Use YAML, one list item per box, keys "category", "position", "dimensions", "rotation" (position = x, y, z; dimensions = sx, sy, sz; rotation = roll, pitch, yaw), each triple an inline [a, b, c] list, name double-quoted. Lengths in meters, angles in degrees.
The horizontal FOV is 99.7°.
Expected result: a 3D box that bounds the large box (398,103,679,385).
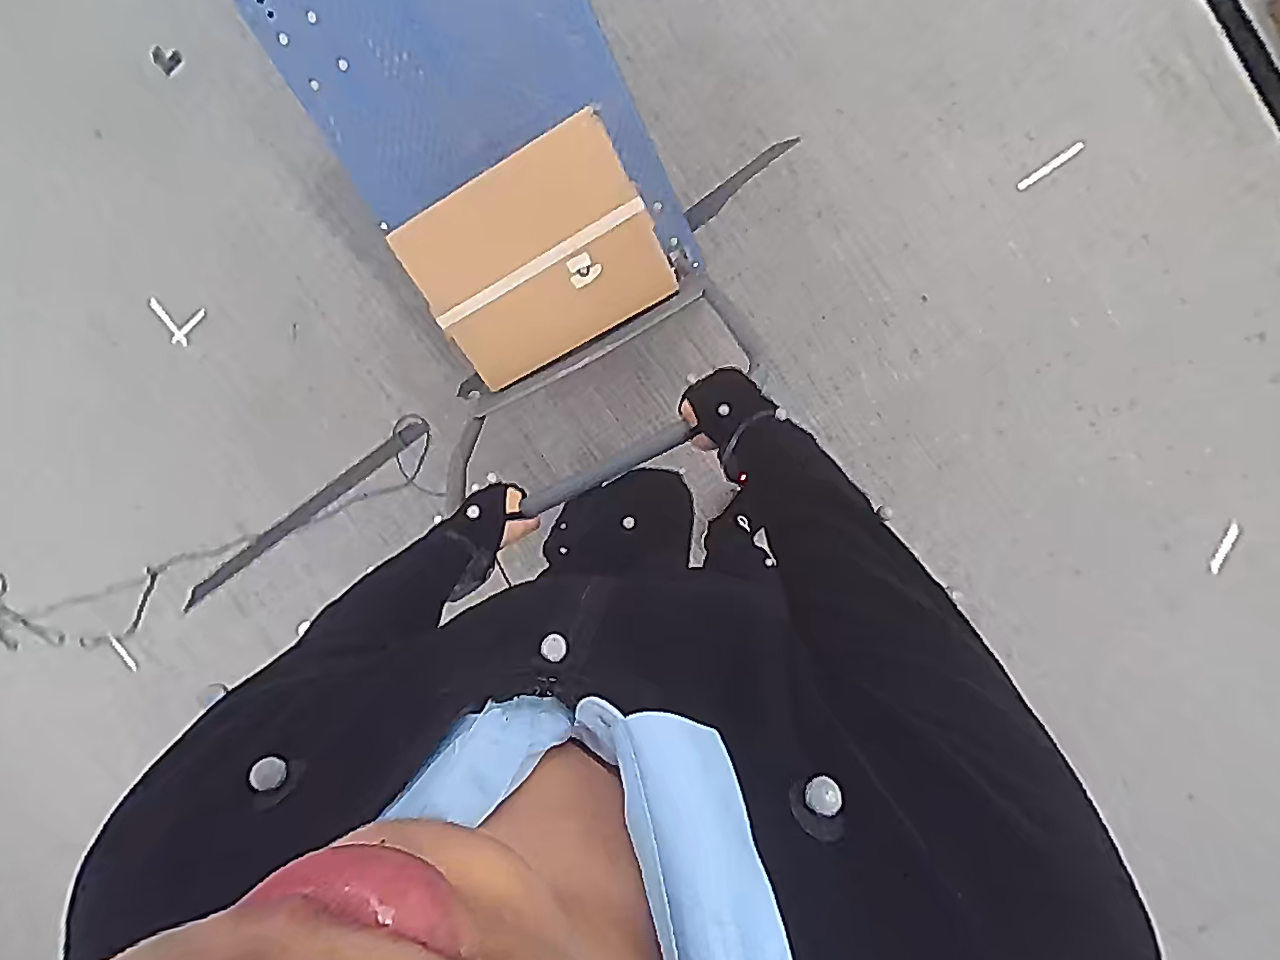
- category: "large box"
  position: [-0.182, -0.453, 1.080]
  dimensions: [0.408, 0.320, 0.320]
  rotation: [-28, 116, 9]
